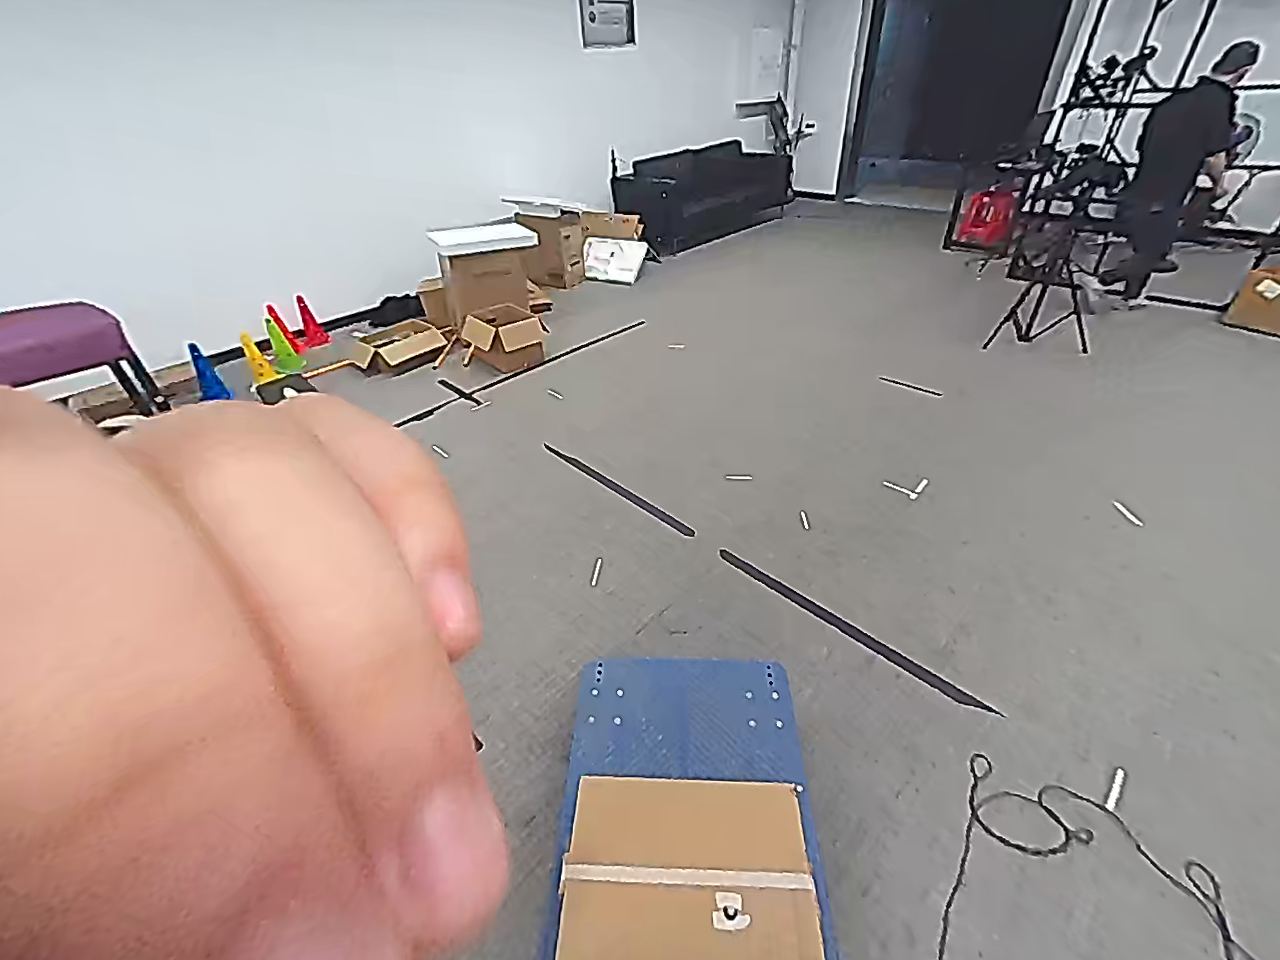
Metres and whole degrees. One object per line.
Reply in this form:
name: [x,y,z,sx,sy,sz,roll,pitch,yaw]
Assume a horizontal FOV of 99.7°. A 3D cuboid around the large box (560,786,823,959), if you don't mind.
large box: [0.083,0.787,0.973,0.408,0.320,0.320,0,38,3]
